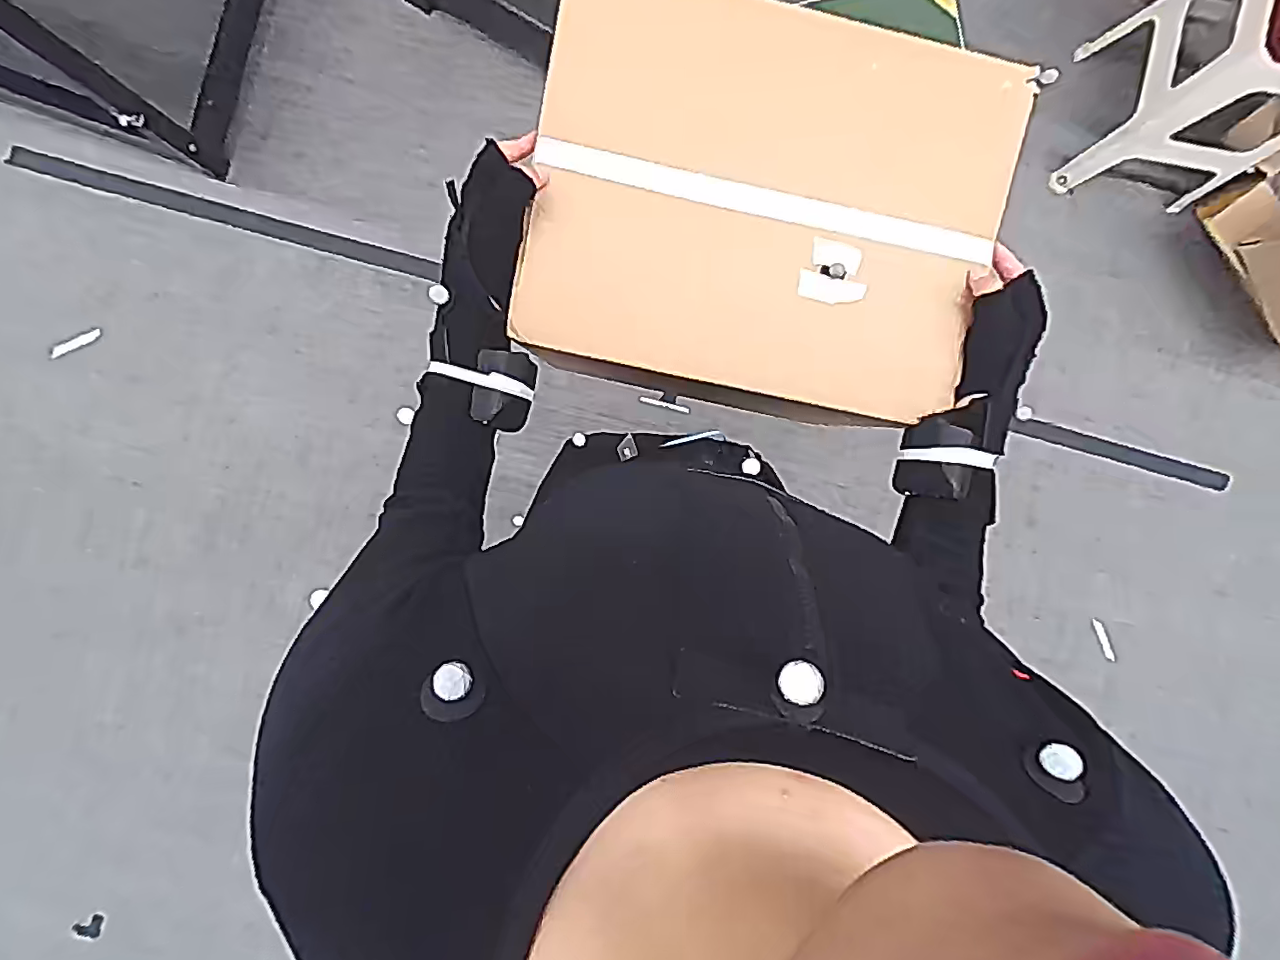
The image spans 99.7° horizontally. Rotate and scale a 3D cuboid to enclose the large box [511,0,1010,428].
[{"bbox_3d":[0.096,-0.250,0.624,0.408,0.320,0.320,11,97,-5],"label":"large box"}]
